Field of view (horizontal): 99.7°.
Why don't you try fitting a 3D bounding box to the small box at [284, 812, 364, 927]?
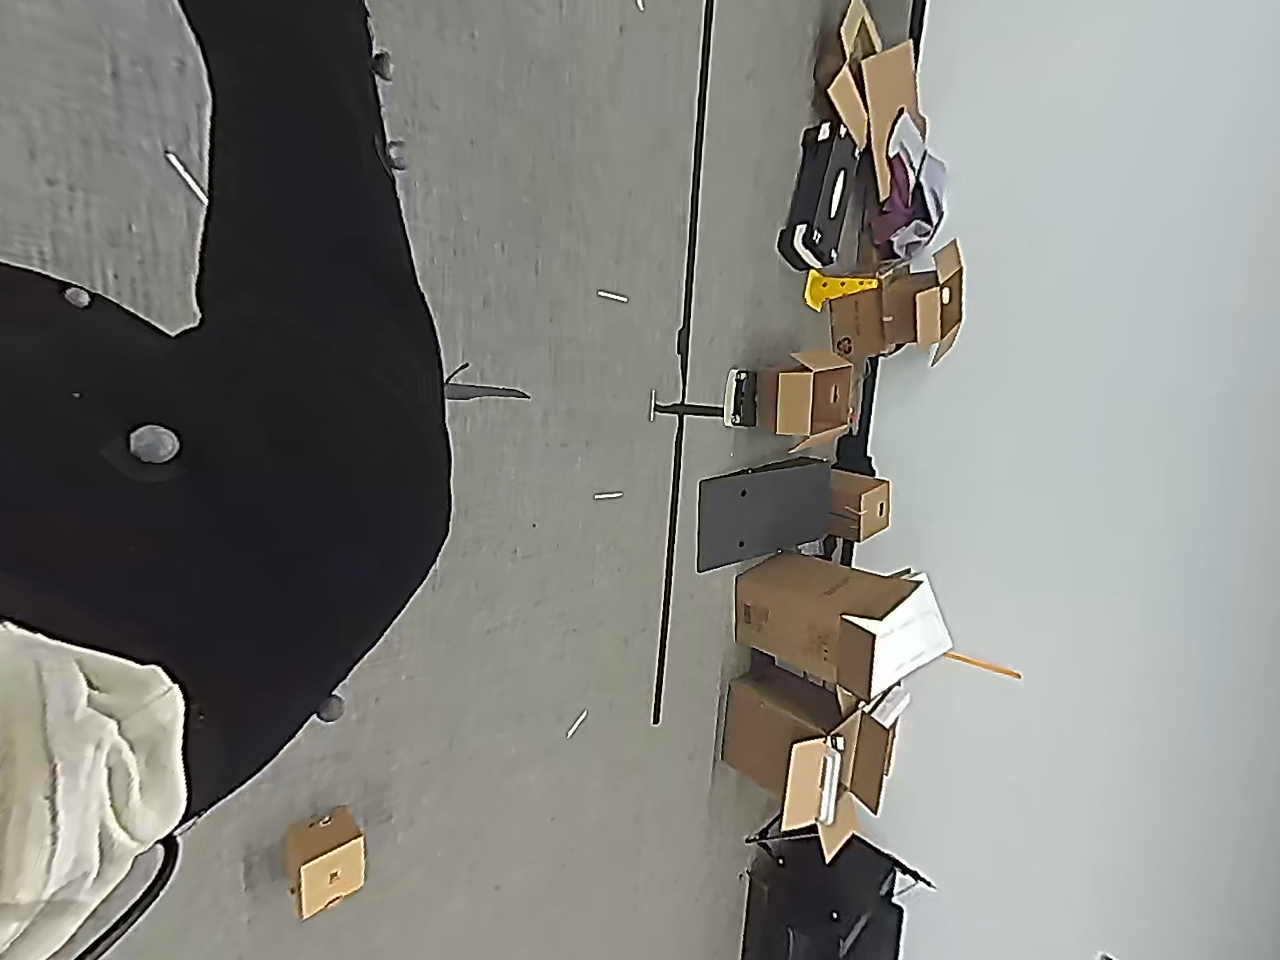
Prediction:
[{"bbox_3d":[-0.924,1.128,1.582,0.168,0.176,0.179,-5,103,-46],"label":"small box"}]
